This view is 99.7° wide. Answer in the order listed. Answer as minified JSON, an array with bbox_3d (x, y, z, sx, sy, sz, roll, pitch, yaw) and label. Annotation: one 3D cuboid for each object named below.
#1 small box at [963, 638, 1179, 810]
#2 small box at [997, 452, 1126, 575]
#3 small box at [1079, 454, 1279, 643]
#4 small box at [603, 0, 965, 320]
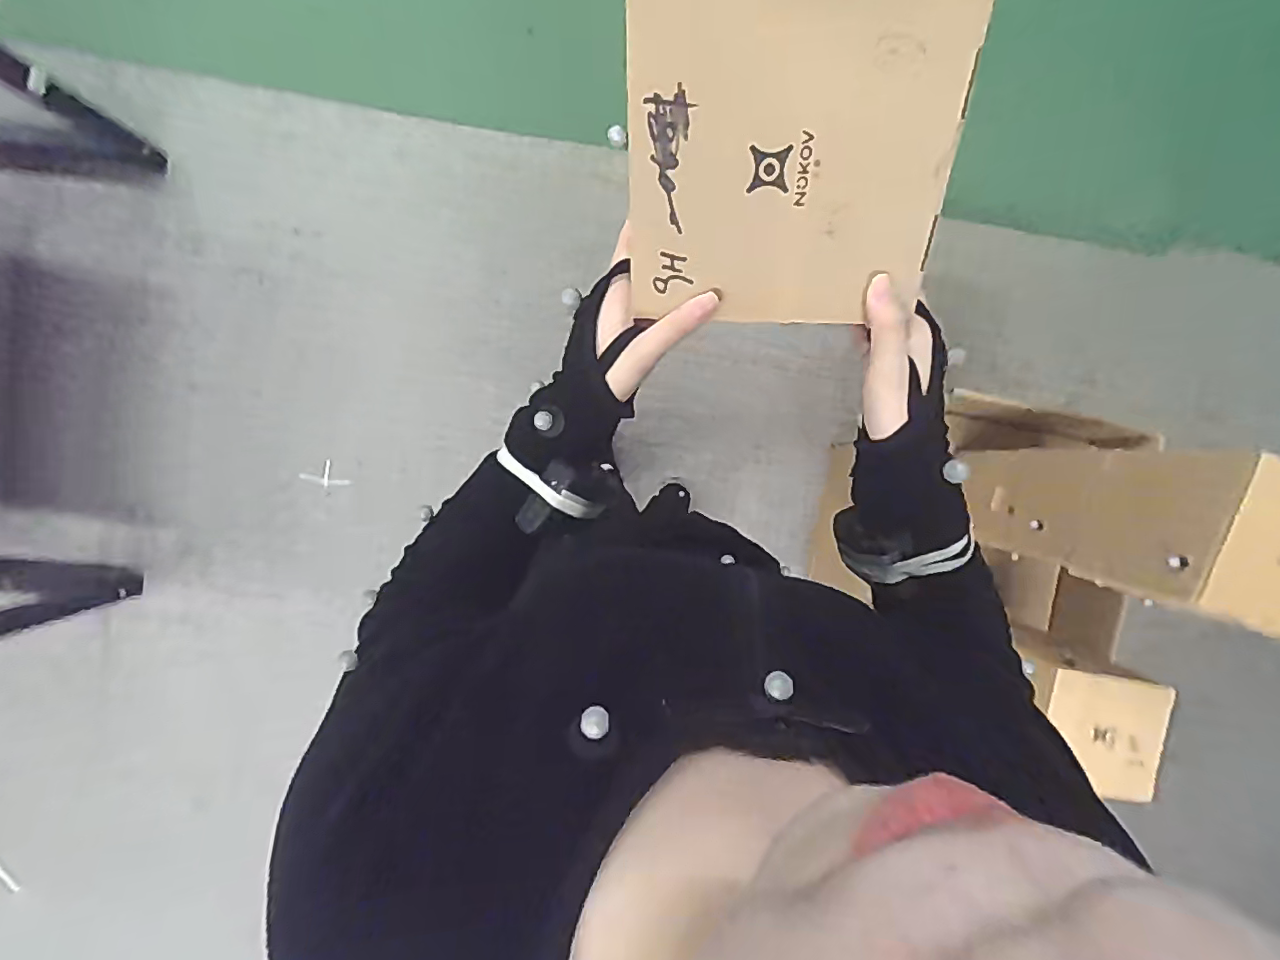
[{"bbox_3d":[0.627,0.351,0.811,0.179,0.176,0.168,11,92,-2],"label":"small box"},{"bbox_3d":[0.681,0.061,0.802,0.179,0.176,0.168,16,93,-3],"label":"small box"},{"bbox_3d":[0.681,0.074,0.640,0.168,0.176,0.179,19,95,-3],"label":"small box"},{"bbox_3d":[0.075,-0.213,0.366,0.179,0.176,0.168,2,121,5],"label":"small box"}]
